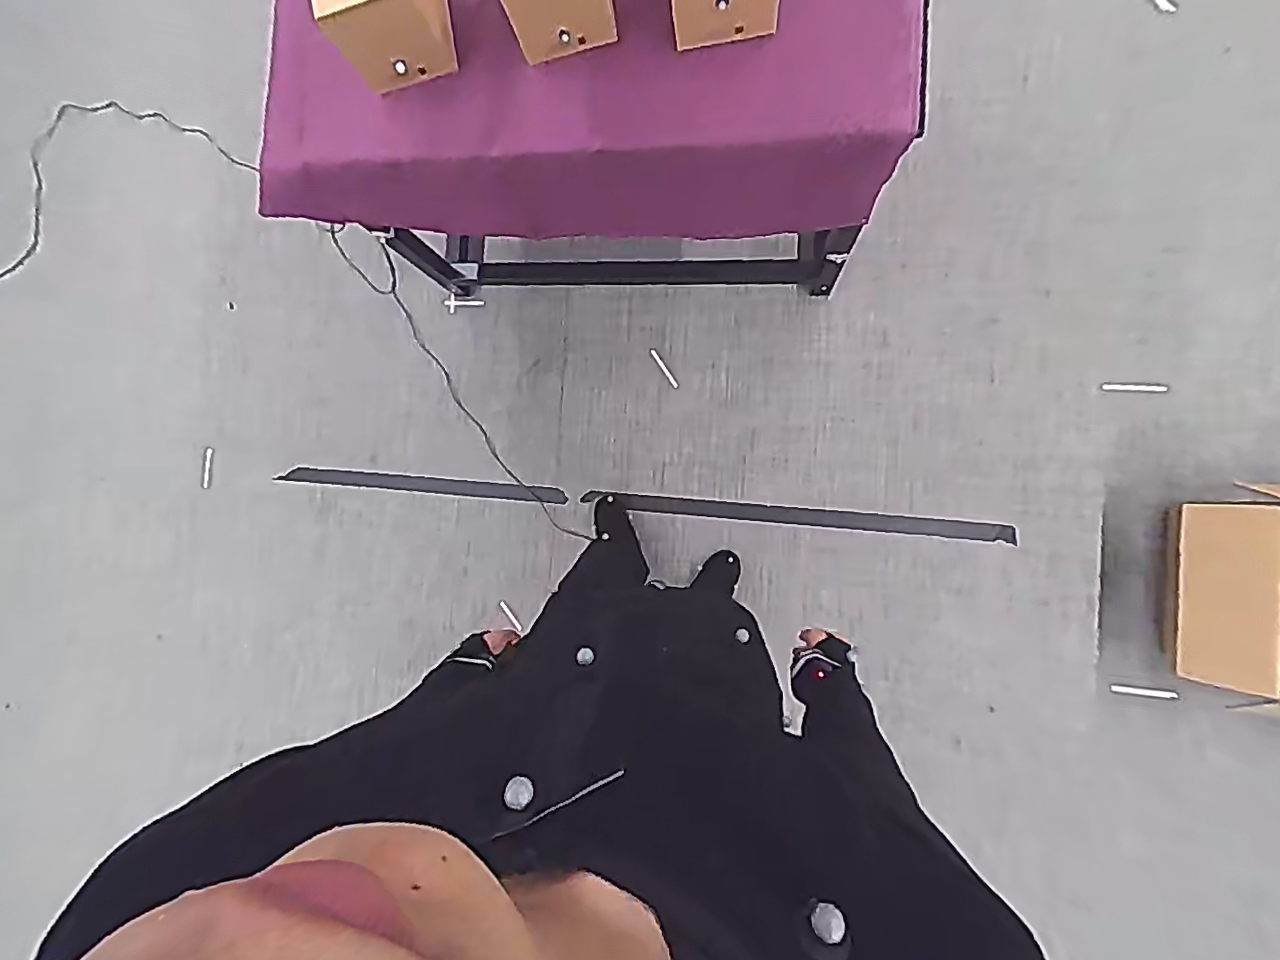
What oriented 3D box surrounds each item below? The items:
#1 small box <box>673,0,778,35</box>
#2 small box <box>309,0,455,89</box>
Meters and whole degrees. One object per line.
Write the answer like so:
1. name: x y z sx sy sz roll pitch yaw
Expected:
1. small box: 0.128 -0.829 0.827 0.168 0.176 0.179 -3 87 9
2. small box: -0.438 -0.824 0.921 0.168 0.176 0.179 -10 87 9
